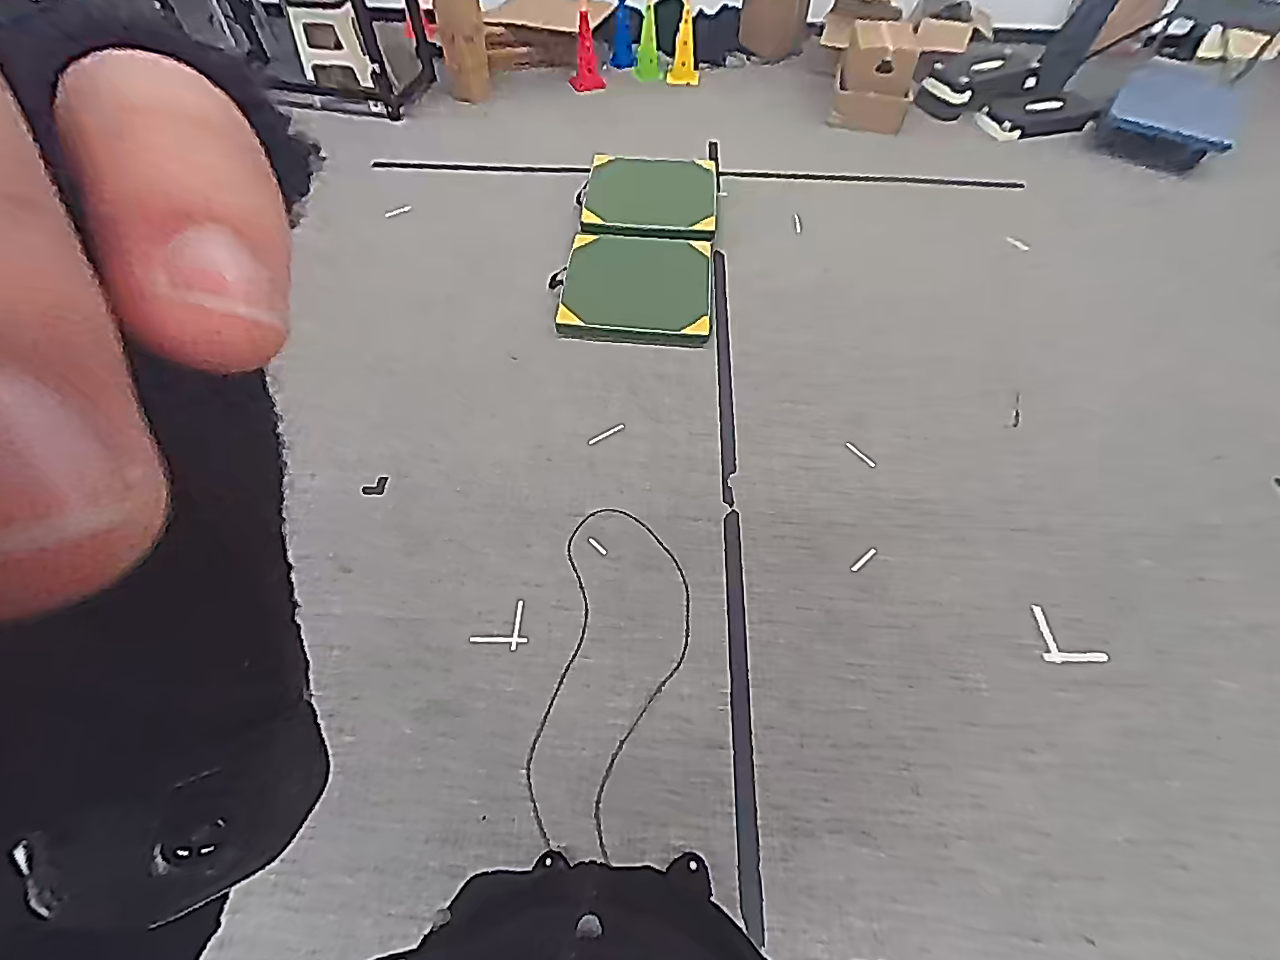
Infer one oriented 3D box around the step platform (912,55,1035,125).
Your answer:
[{"bbox_3d":[1.996,-2.339,3.233,0.684,0.204,0.286,-22,60,-15],"label":"step platform"}]
